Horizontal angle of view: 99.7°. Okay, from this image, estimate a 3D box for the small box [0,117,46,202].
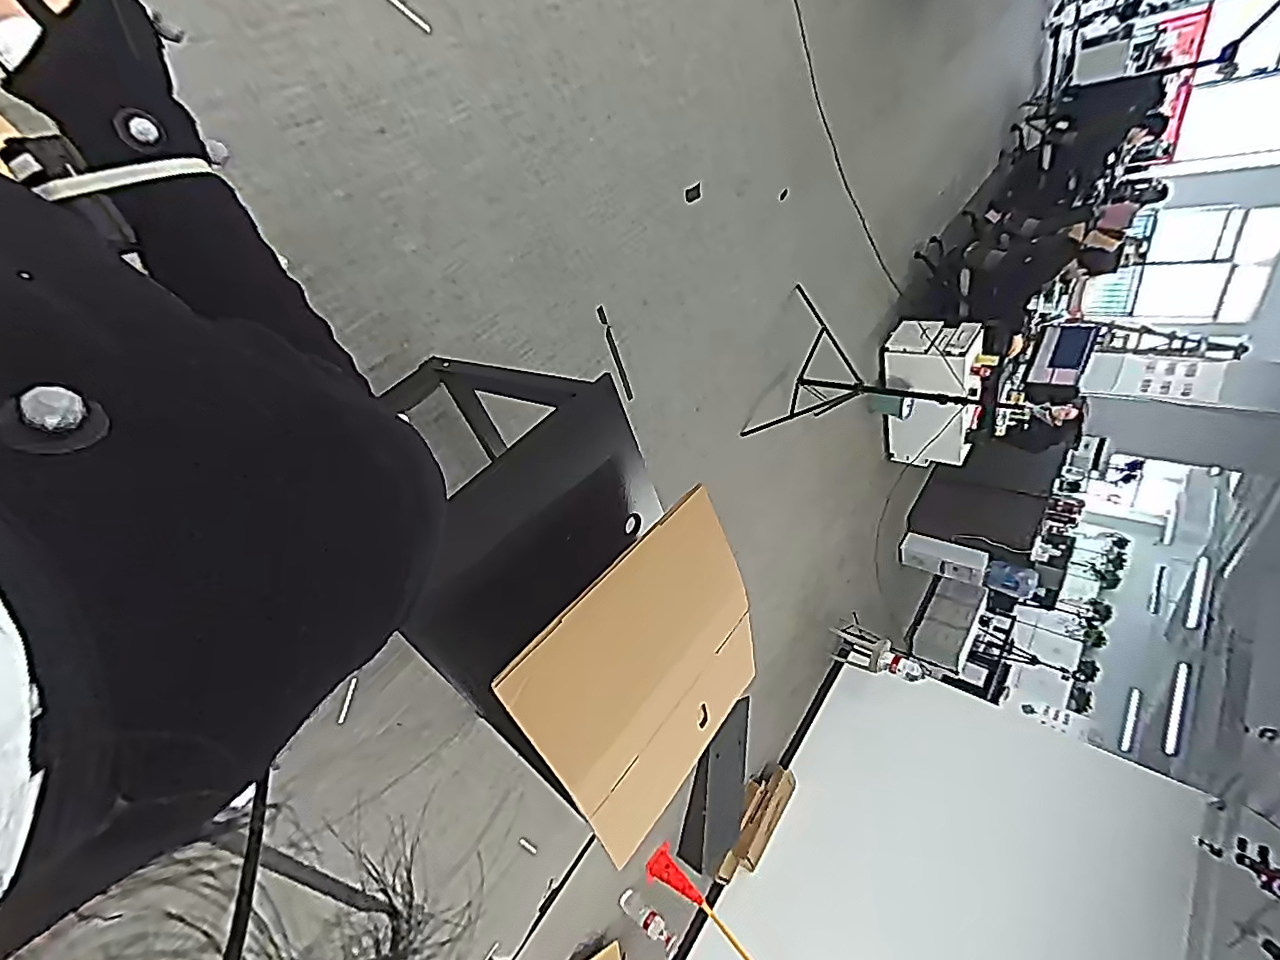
[{"bbox_3d":[-0.974,-0.455,0.730,0.179,0.176,0.168,-53,137,-24],"label":"small box"}]

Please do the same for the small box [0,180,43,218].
[{"bbox_3d":[-1.097,-0.485,0.832,0.179,0.176,0.168,-49,134,-25],"label":"small box"}]
